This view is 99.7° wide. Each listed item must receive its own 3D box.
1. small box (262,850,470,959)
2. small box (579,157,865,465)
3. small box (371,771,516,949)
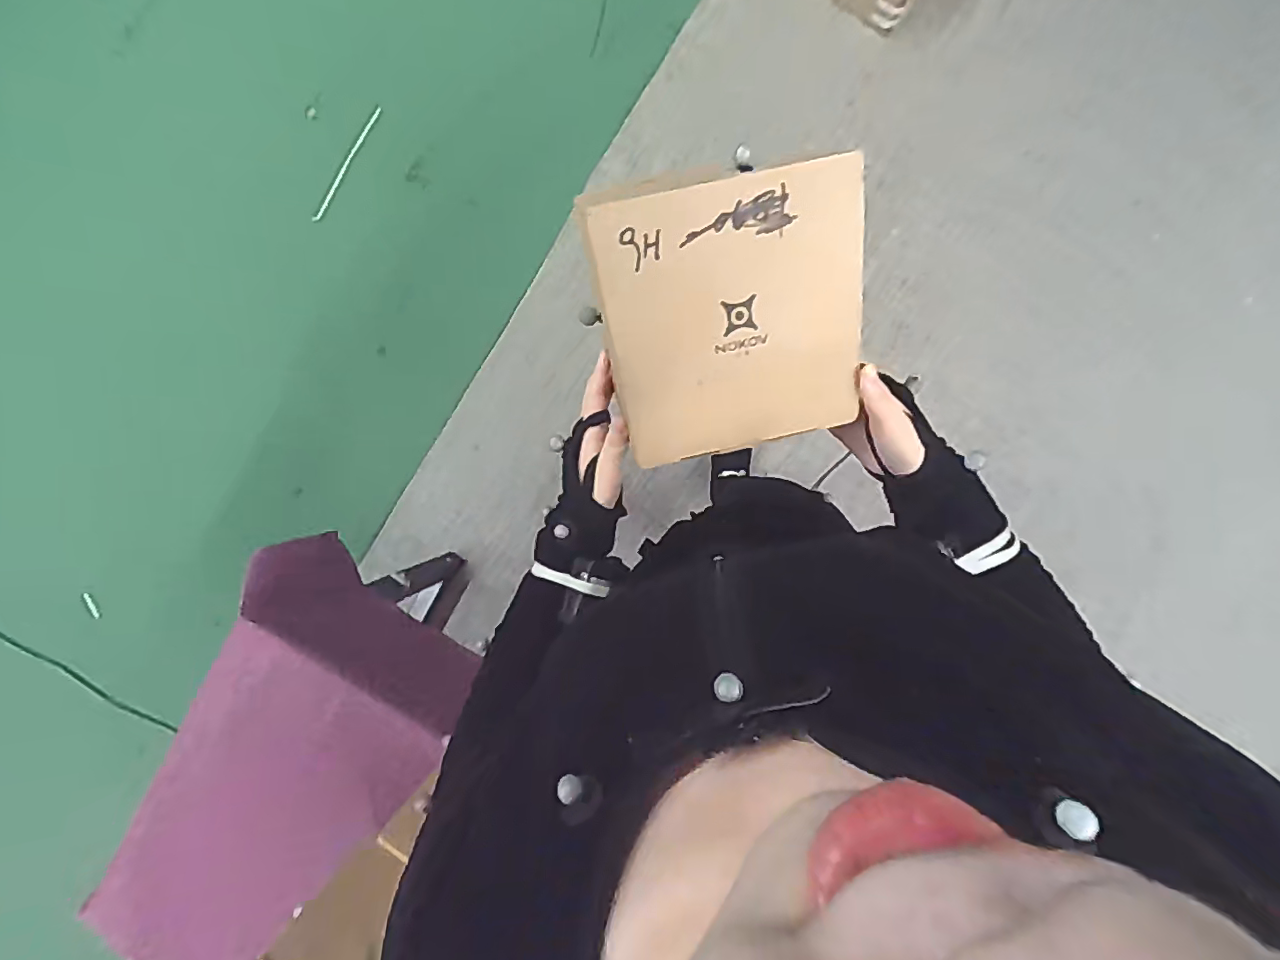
[{"bbox_3d":[-0.315,0.551,0.575,0.179,0.176,0.168,33,94,4],"label":"small box"},{"bbox_3d":[0.052,-0.139,0.422,0.168,0.176,0.179,-13,122,-3],"label":"small box"},{"bbox_3d":[-0.290,0.547,0.738,0.168,0.176,0.179,33,95,4],"label":"small box"}]
